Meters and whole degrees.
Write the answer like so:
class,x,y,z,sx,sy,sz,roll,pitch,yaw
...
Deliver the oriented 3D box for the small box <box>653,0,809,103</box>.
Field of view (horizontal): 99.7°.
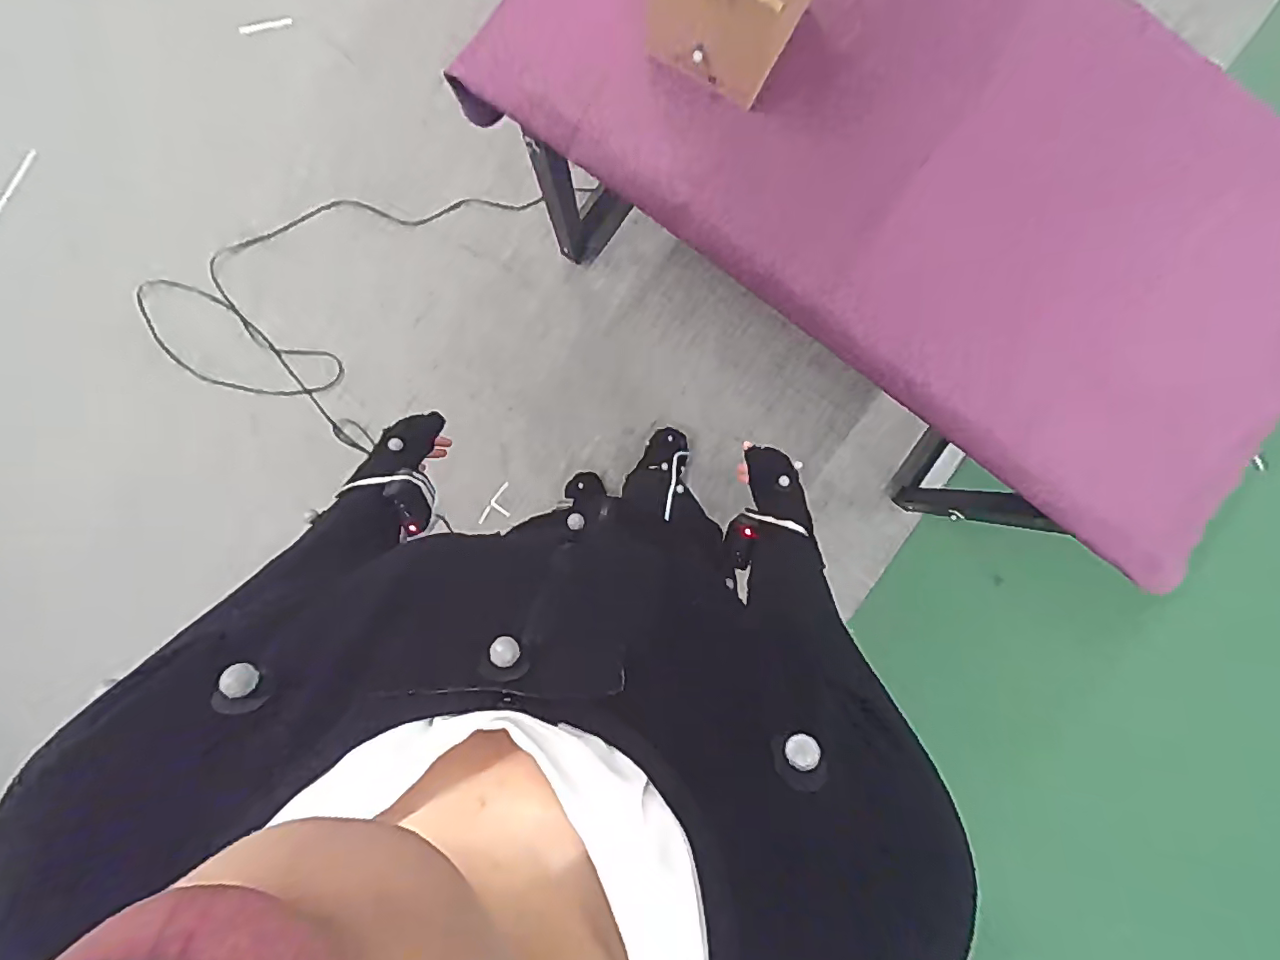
class,x,y,z,sx,sy,sz,roll,pitch,yaw
small box,0.123,-0.621,0.655,0.168,0.176,0.179,30,91,-1
